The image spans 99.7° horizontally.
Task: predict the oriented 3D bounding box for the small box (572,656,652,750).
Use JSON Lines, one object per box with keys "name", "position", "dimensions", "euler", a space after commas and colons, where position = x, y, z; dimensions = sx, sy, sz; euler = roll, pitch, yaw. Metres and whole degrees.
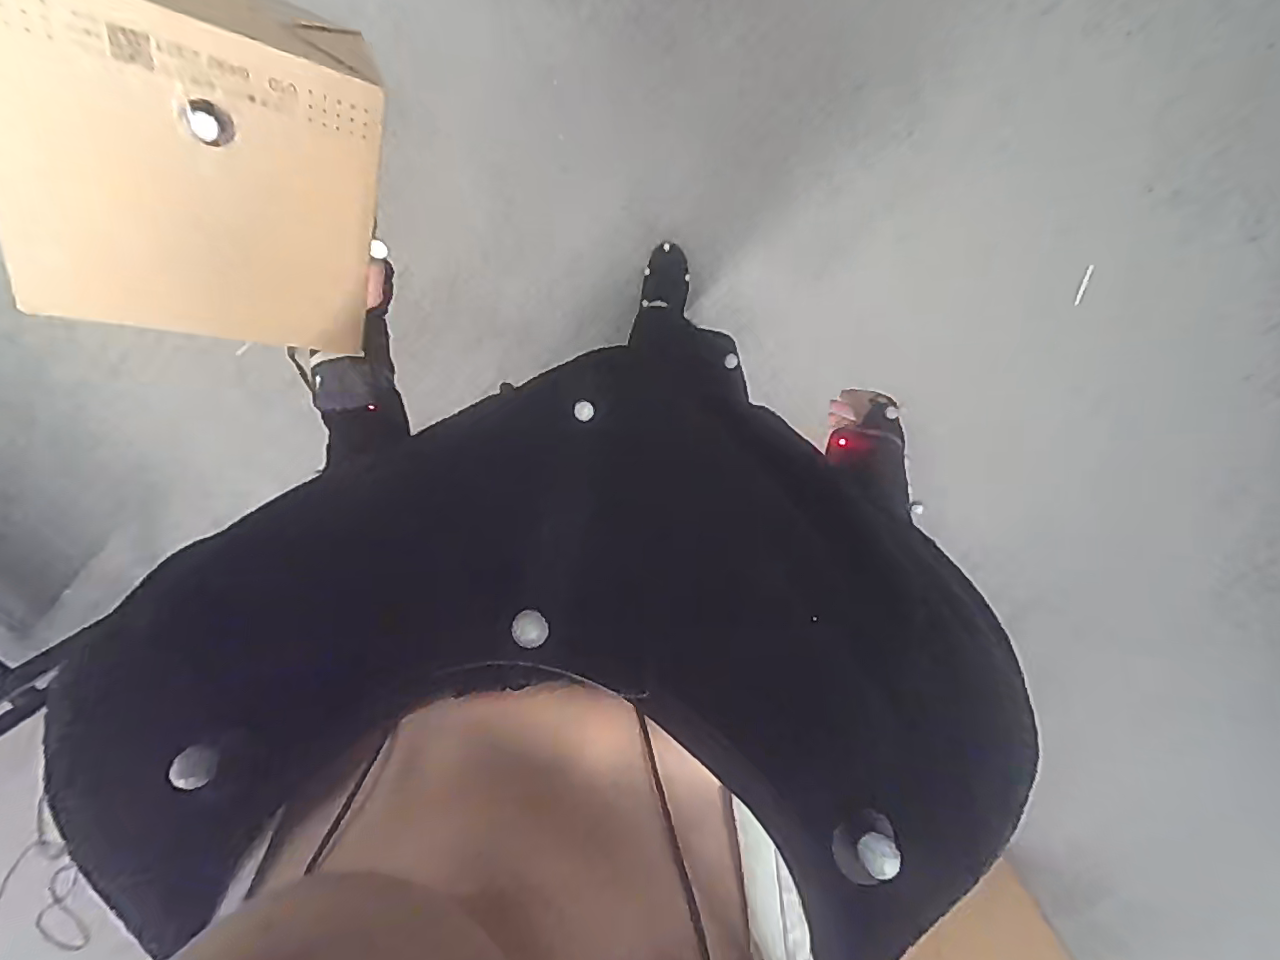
{"name": "small box", "position": [-0.080, 0.667, 1.647], "dimensions": [0.179, 0.176, 0.168], "euler": [41, 104, -11]}
